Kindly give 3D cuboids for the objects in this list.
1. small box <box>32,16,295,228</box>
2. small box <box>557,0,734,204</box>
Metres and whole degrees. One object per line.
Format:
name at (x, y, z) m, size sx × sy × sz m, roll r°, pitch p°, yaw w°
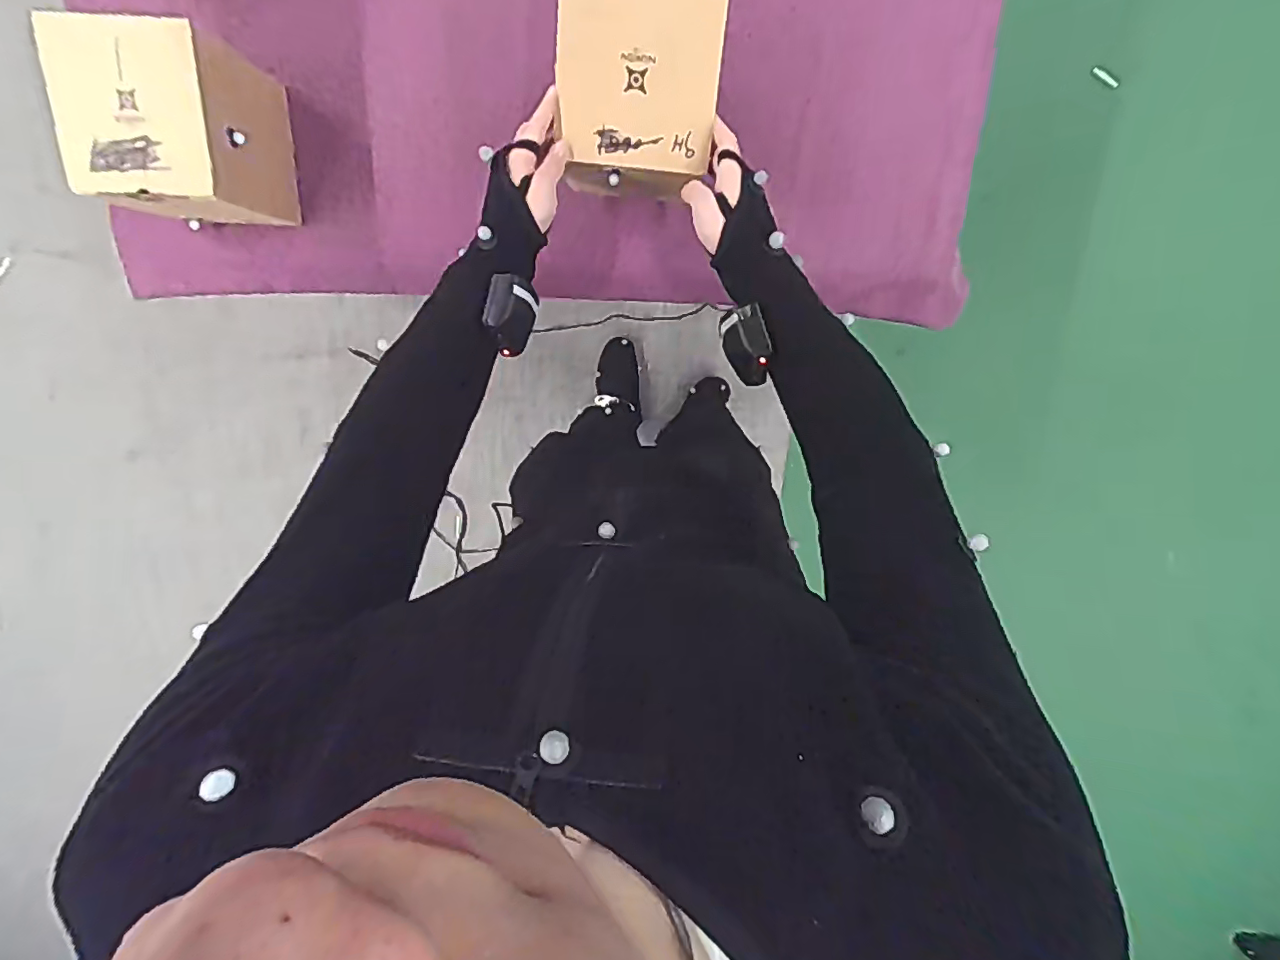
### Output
small box at (-0.558, -0.419, 0.665) m, size 0.168 × 0.176 × 0.179 m, roll 2°, pitch 105°, yaw -2°
small box at (0.001, -0.433, 0.618) m, size 0.168 × 0.176 × 0.179 m, roll 5°, pitch 109°, yaw -2°
